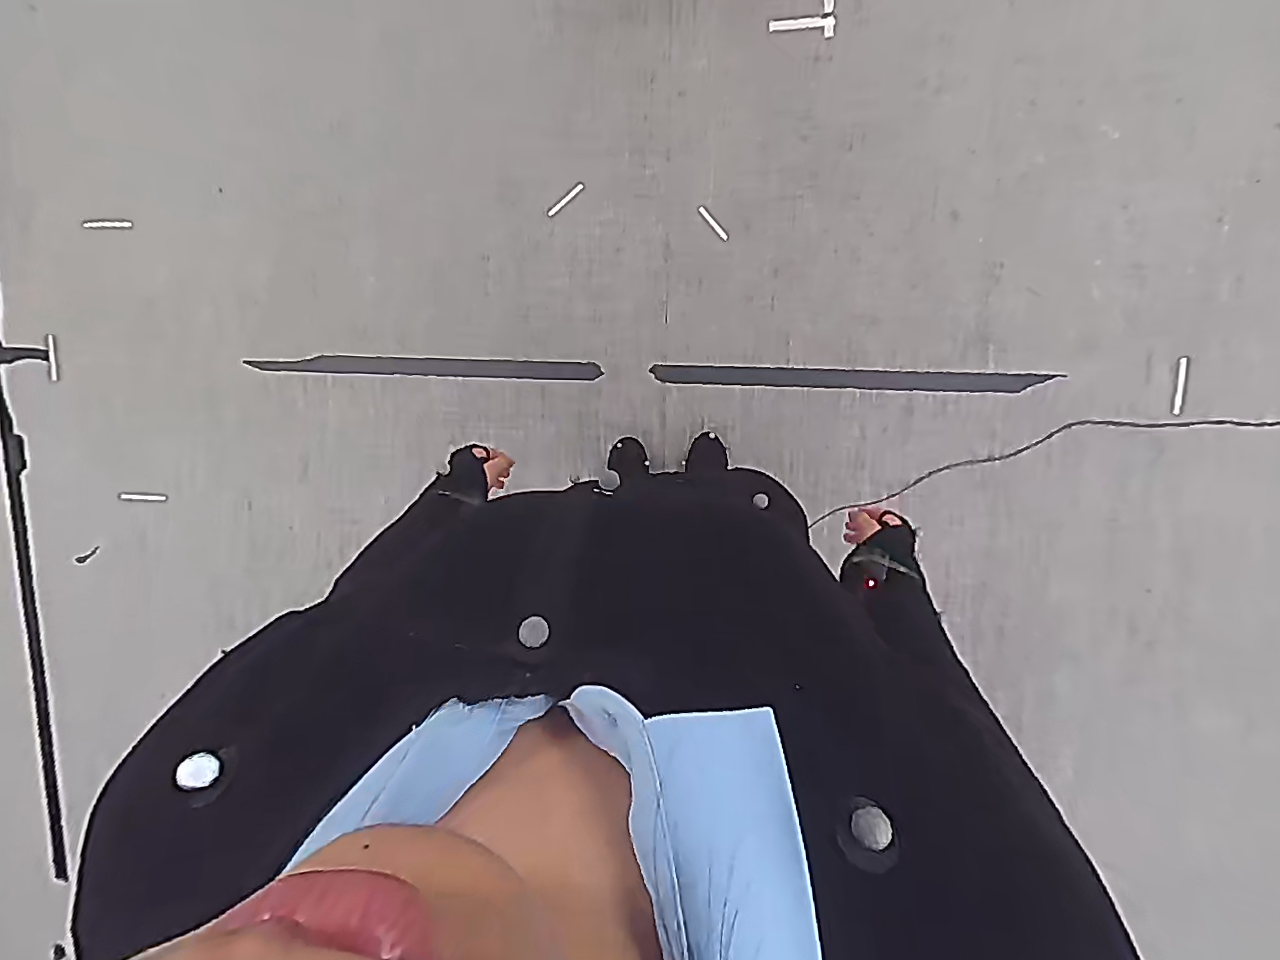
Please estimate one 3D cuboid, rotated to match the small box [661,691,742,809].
[{"bbox_3d":[0.142,0.625,1.266,0.168,0.176,0.179,4,96,4],"label":"small box"}]
